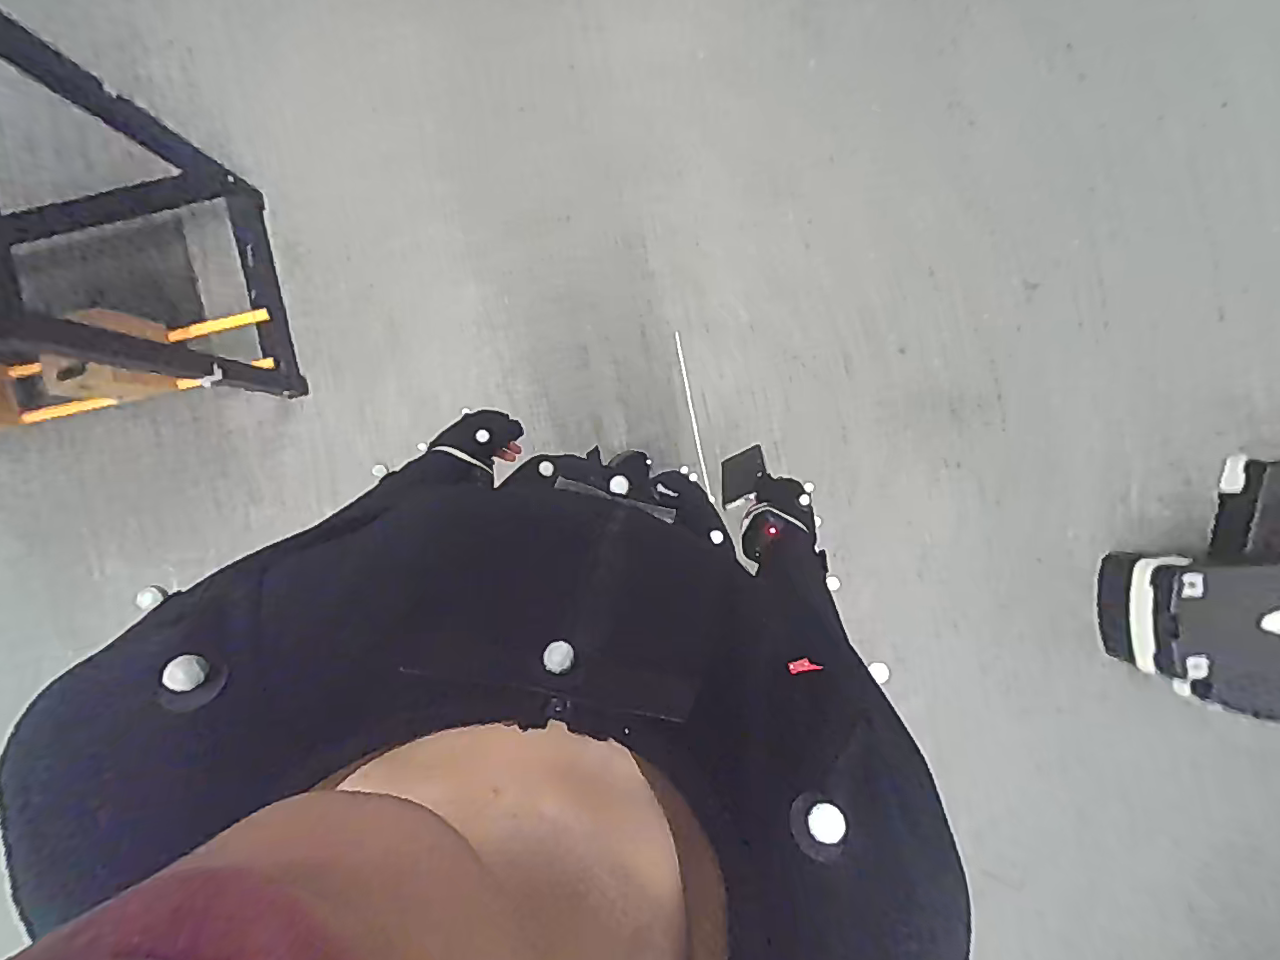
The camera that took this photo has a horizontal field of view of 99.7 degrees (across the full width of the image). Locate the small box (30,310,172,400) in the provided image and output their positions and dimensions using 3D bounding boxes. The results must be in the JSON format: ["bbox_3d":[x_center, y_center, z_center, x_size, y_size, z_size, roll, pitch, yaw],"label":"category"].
[{"bbox_3d":[-1.286,-0.292,1.305,0.168,0.176,0.179,-9,92,1],"label":"small box"}]
